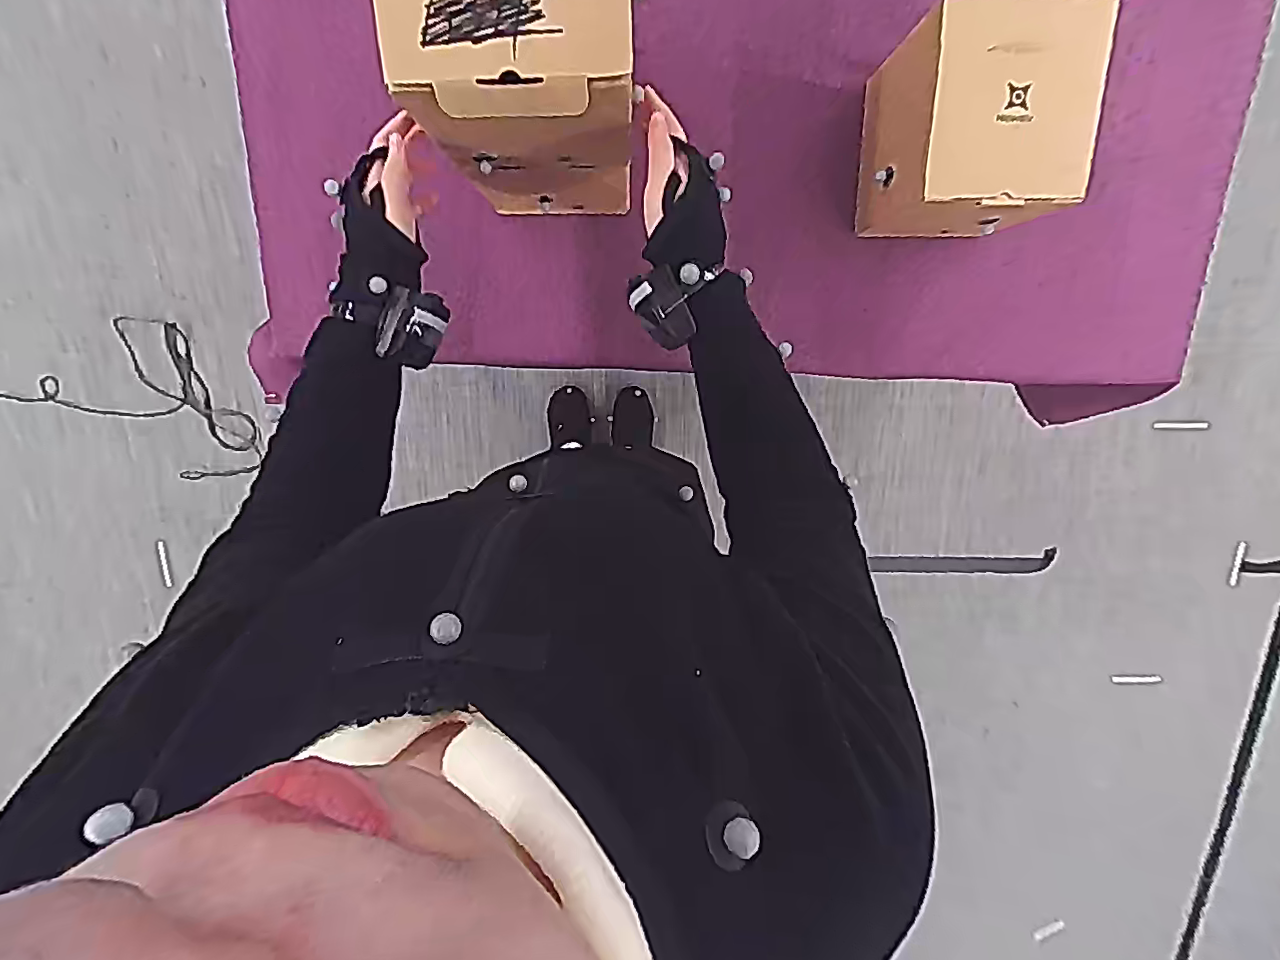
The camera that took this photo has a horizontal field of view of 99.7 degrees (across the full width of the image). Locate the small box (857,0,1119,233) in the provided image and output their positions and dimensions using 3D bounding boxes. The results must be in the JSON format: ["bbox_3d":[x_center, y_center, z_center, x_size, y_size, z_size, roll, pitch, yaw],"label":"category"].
[{"bbox_3d":[0.355,-0.378,0.591,0.168,0.176,0.179,0,103,-2],"label":"small box"}]

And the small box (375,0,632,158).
[{"bbox_3d":[-0.090,-0.365,0.415,0.168,0.176,0.179,-2,104,-1],"label":"small box"}]

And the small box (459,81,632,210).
[{"bbox_3d":[-0.093,-0.403,0.575,0.168,0.176,0.179,-1,105,-2],"label":"small box"}]
